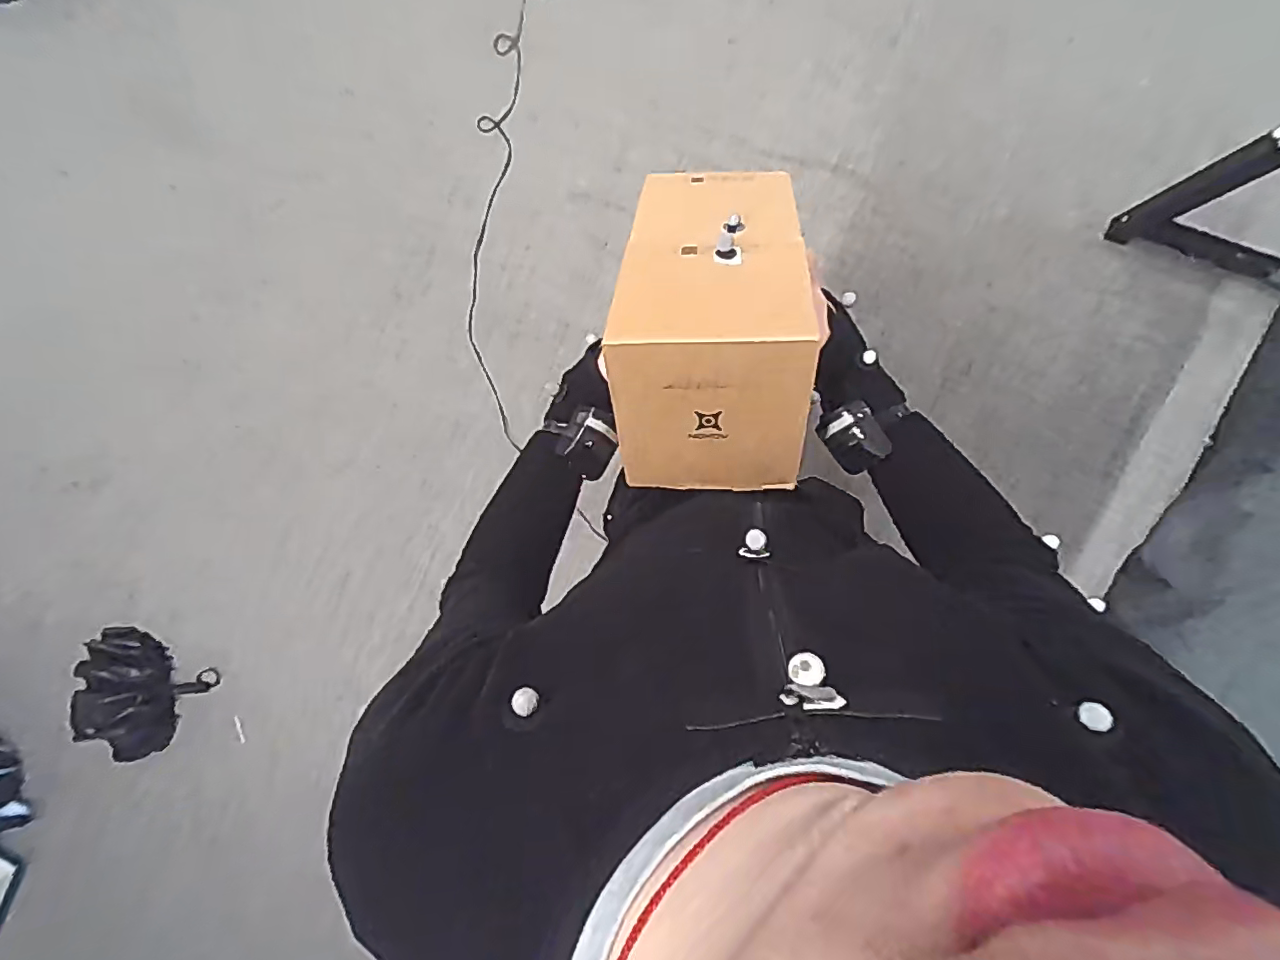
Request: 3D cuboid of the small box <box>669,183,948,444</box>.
[{"bbox_3d":[0.153,-0.164,0.535,0.179,0.168,0.176,13,123,-20],"label":"small box"}]
